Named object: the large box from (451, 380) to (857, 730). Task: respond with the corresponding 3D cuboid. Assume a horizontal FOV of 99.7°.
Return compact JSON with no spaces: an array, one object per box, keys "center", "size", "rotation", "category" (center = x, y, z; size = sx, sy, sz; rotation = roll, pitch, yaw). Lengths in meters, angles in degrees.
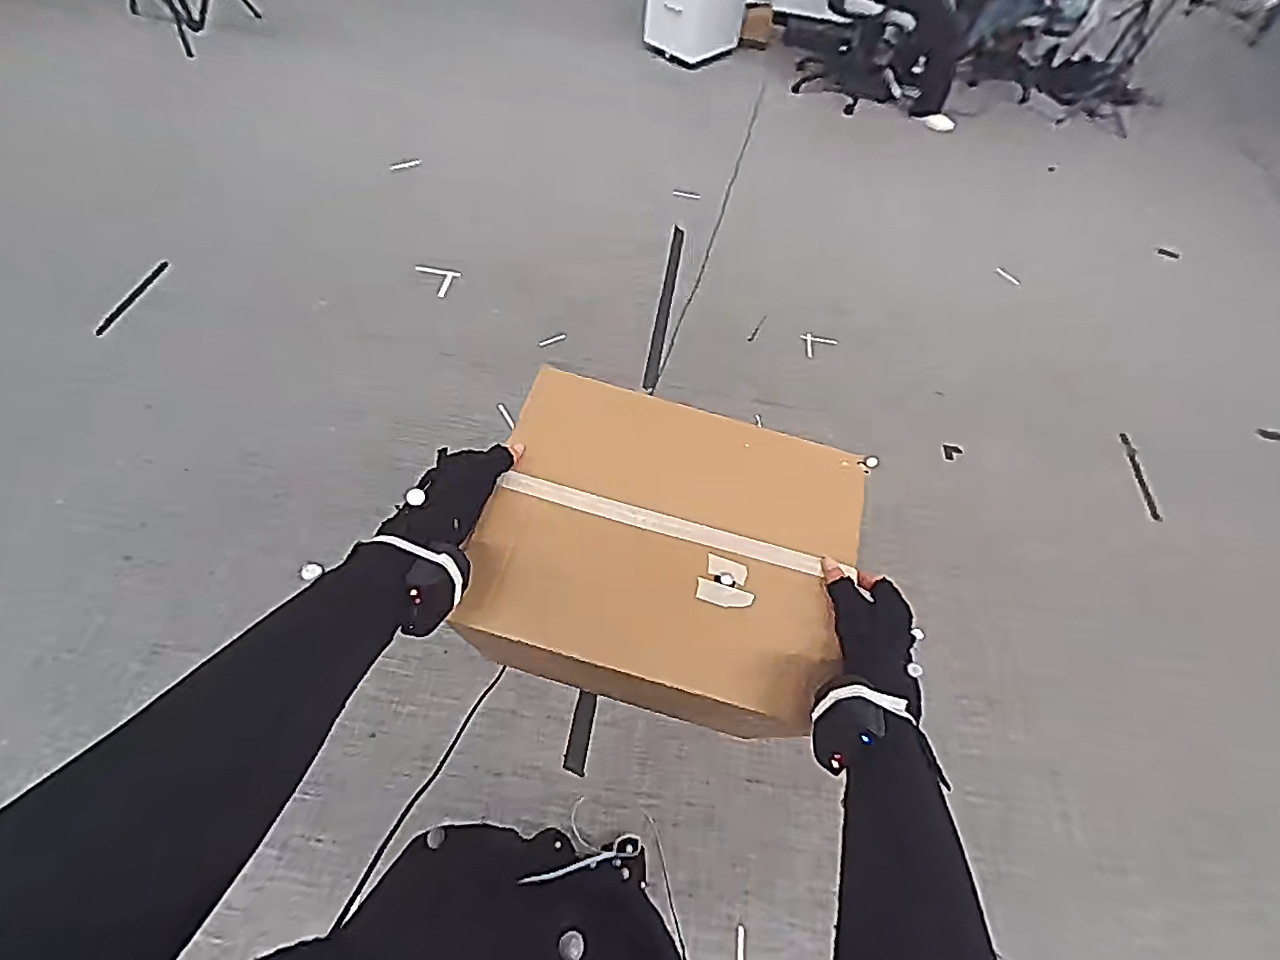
[{"center":[0.021,0.120,0.728],"size":[0.408,0.320,0.320],"rotation":[16,64,1],"category":"large box"}]
